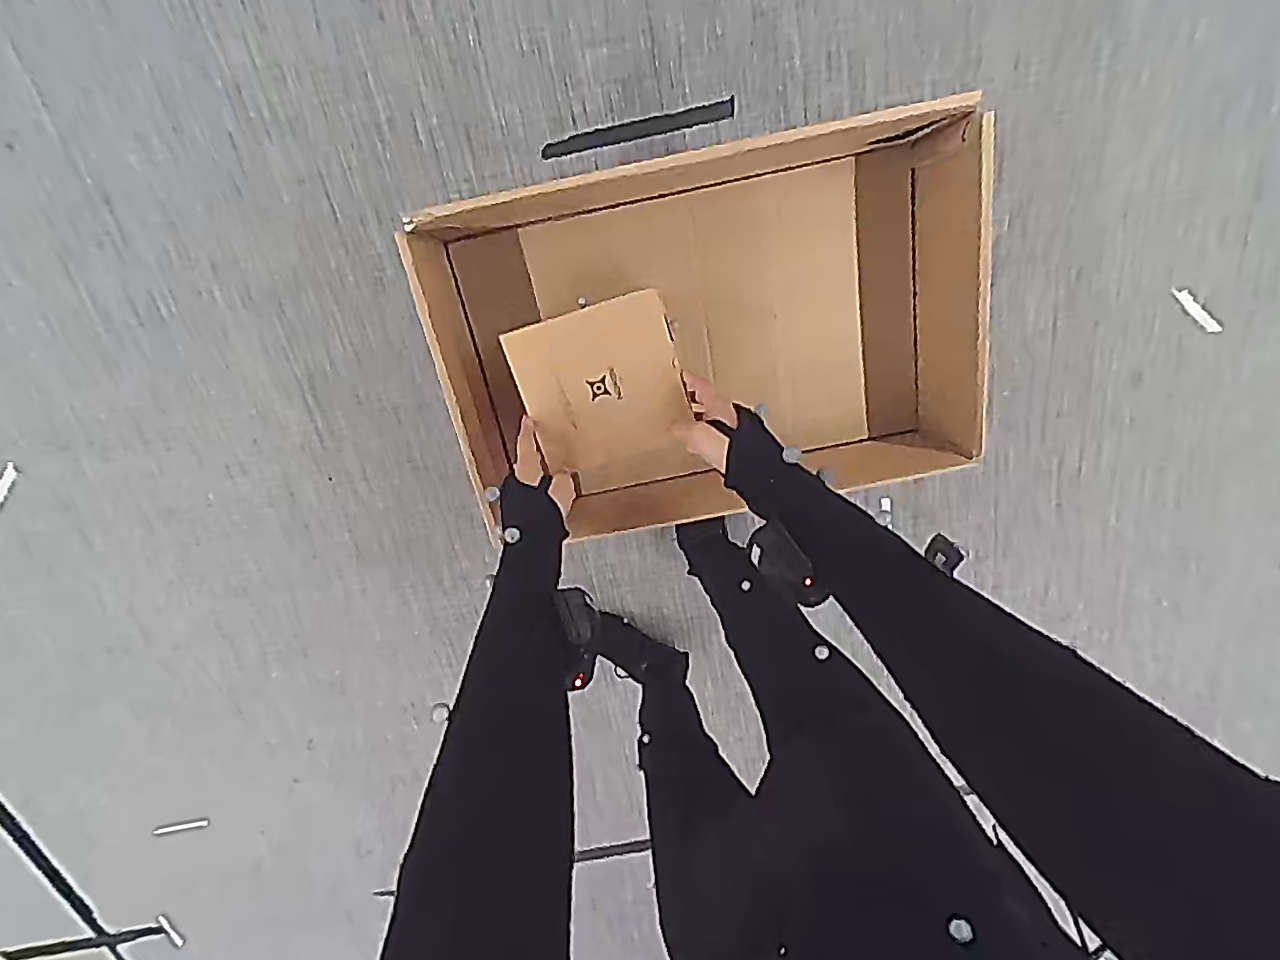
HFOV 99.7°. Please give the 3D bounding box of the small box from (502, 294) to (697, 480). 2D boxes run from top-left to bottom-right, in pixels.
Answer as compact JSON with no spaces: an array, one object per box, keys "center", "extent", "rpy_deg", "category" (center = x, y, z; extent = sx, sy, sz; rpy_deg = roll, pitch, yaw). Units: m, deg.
[{"center":[-0.043,-0.121,0.658],"extent":[0.179,0.176,0.168],"rpy_deg":[-16,106,5],"category":"small box"}]
